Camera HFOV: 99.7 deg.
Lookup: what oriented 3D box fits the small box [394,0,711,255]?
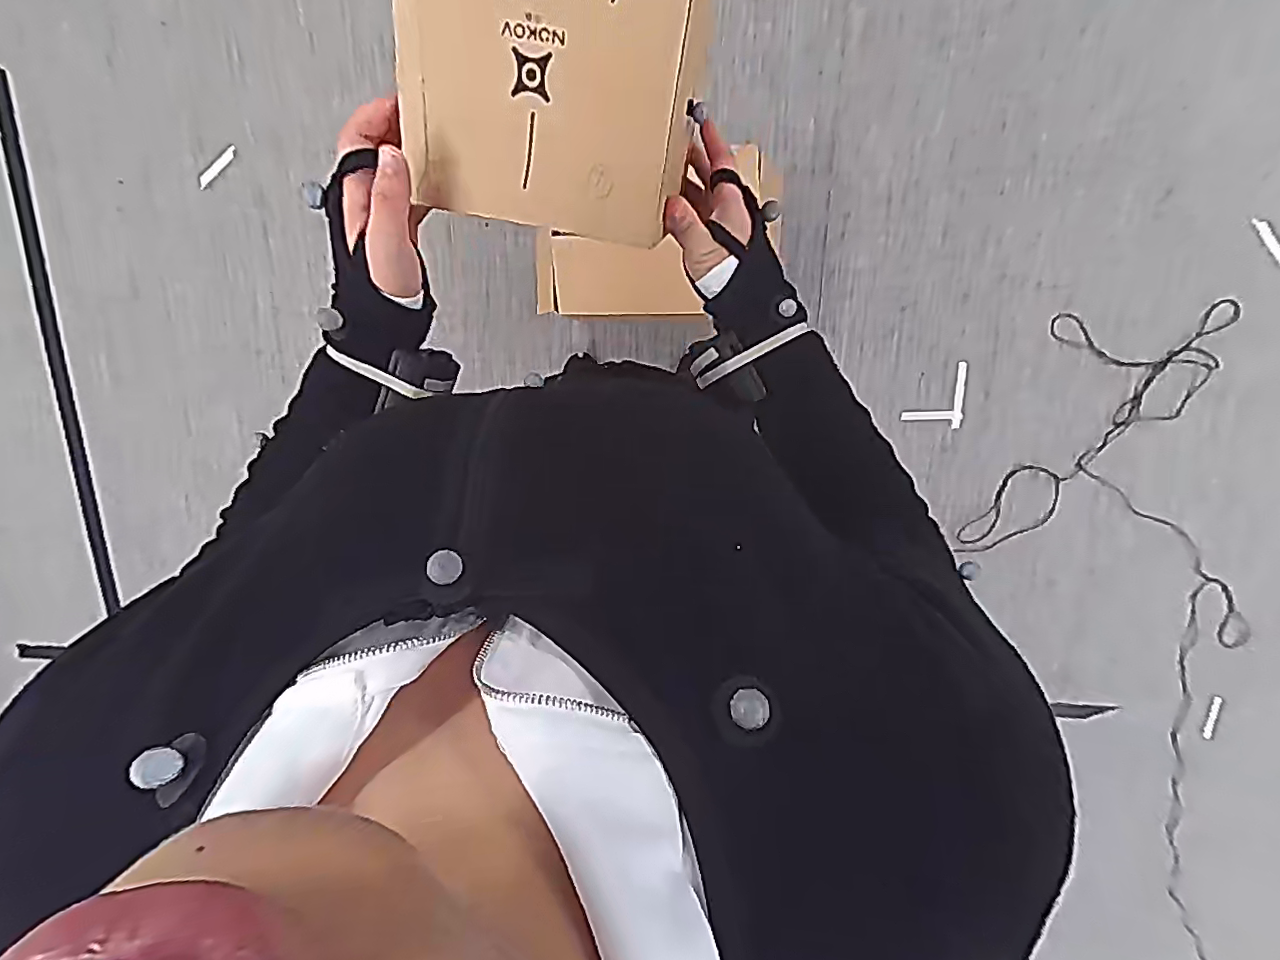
[{"bbox_3d":[-0.048,-0.275,0.373,0.168,0.176,0.179,13,123,3],"label":"small box"}]
